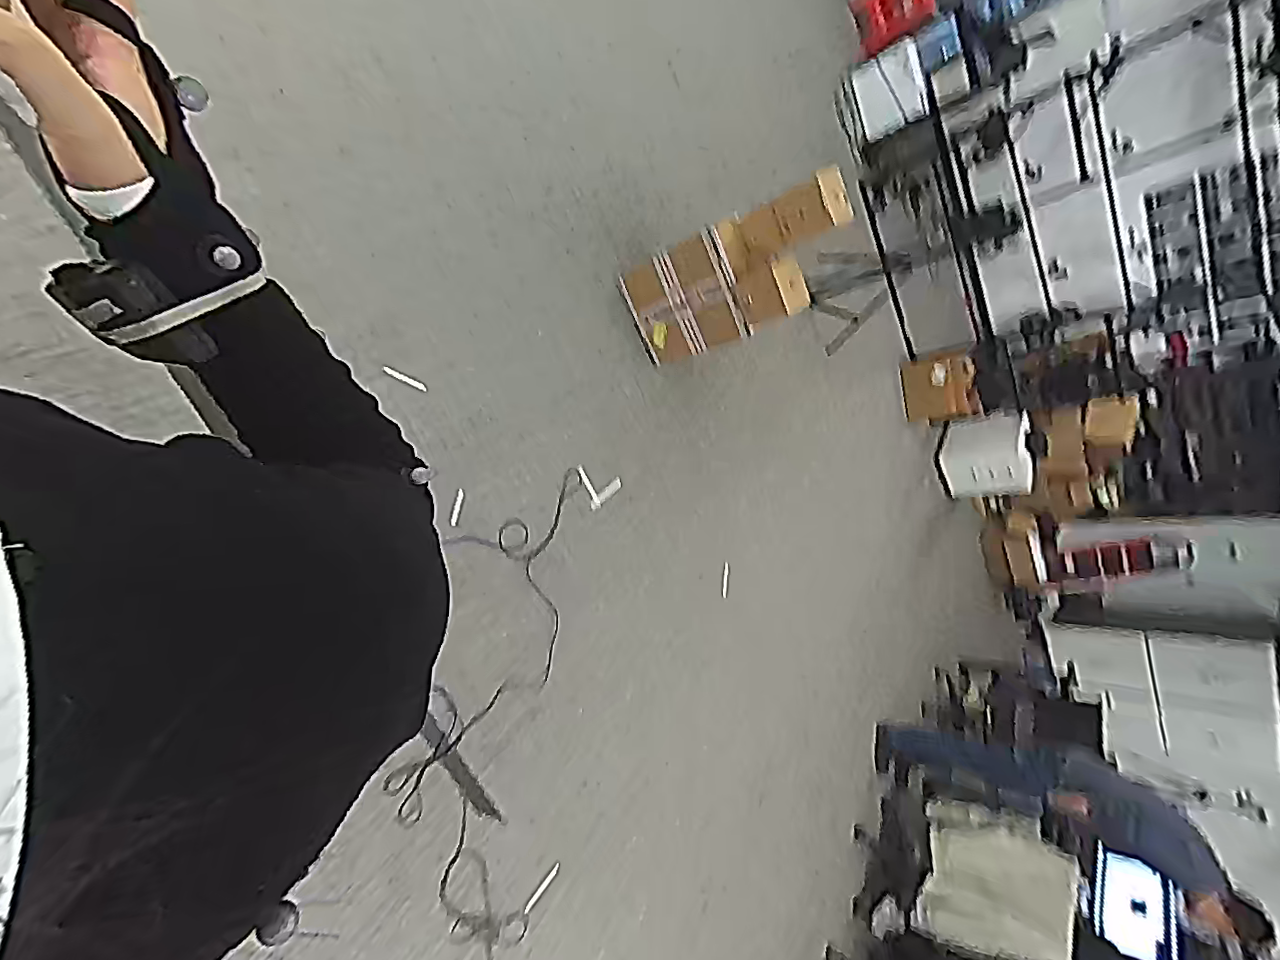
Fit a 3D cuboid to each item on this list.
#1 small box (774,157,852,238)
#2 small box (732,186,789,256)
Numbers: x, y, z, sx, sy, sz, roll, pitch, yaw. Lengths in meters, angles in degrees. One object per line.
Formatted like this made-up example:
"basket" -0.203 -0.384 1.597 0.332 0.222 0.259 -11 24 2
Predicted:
"small box" 0.559 -0.919 1.770 0.179 0.176 0.168 -39 110 -37
"small box" 0.453 -0.915 1.896 0.179 0.176 0.168 -41 111 -37
